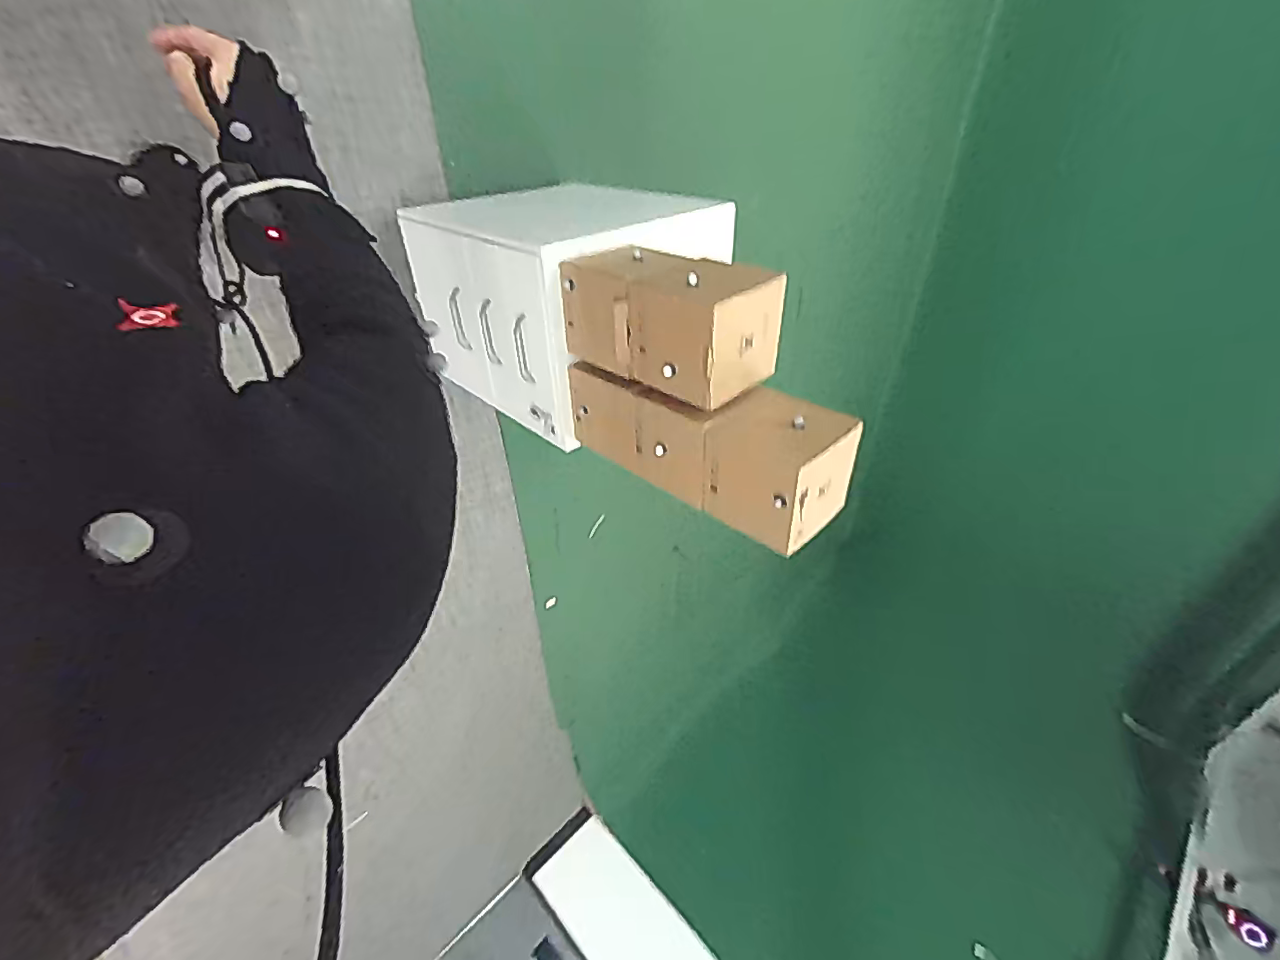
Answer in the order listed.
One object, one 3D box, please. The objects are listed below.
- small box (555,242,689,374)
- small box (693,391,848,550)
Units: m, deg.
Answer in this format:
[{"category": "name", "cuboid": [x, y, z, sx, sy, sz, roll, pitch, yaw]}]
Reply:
[{"category": "small box", "cuboid": [-0.035, -0.309, 0.952, 0.179, 0.176, 0.168, -32, 137, -35]}, {"category": "small box", "cuboid": [0.206, -0.025, 0.877, 0.179, 0.176, 0.168, -33, 136, -34]}]
